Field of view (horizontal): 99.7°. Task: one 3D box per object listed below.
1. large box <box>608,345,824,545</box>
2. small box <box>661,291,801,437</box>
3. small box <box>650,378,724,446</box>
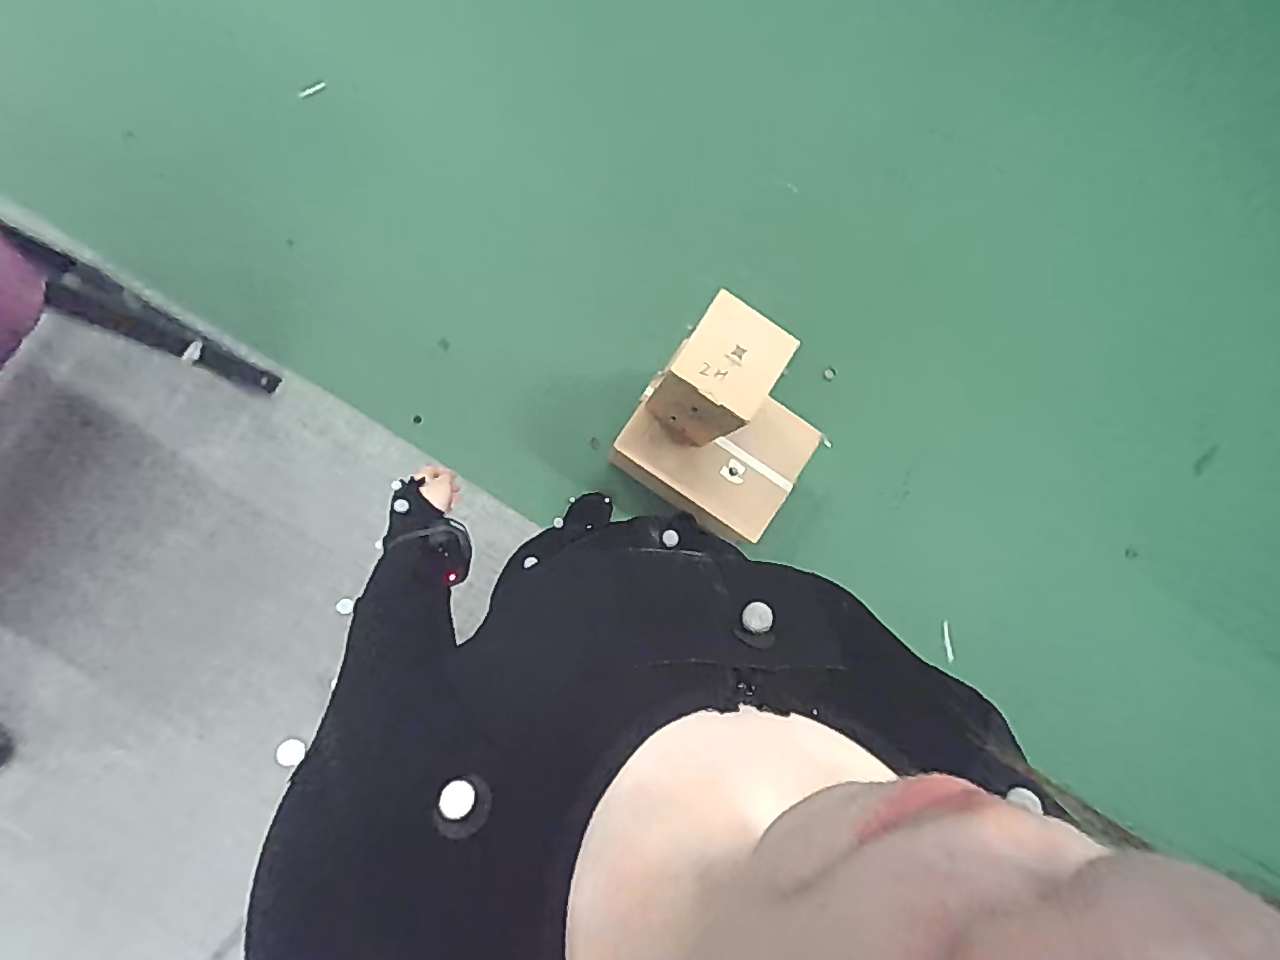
[{"bbox_3d":[0.171,-0.074,1.388,0.408,0.320,0.320,35,84,-3],"label":"large box"},{"bbox_3d":[0.154,-0.200,0.984,0.168,0.176,0.179,34,84,-3],"label":"small box"},{"bbox_3d":[0.136,-0.192,1.148,0.168,0.176,0.179,35,83,-3],"label":"small box"}]
